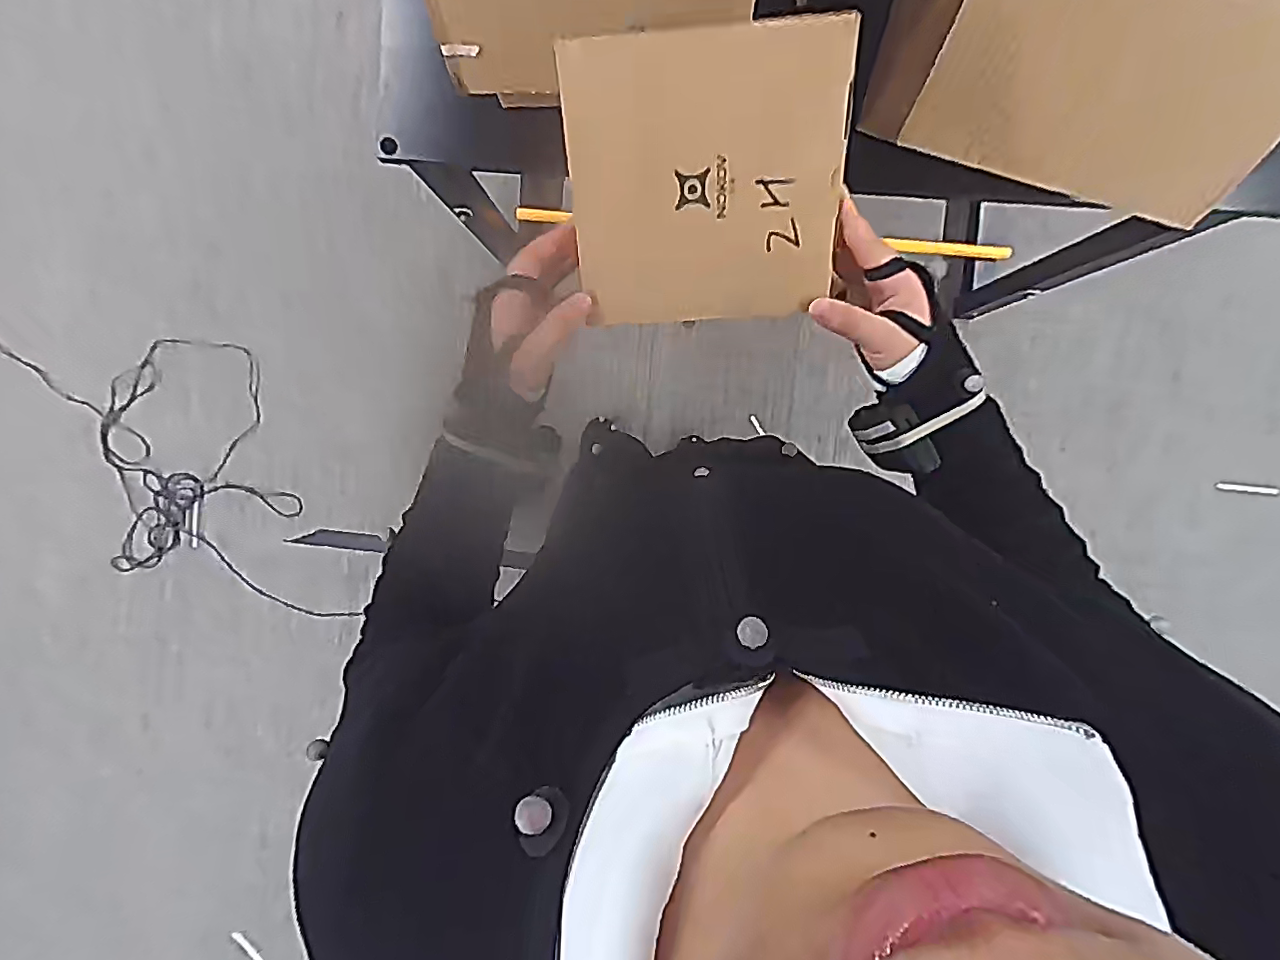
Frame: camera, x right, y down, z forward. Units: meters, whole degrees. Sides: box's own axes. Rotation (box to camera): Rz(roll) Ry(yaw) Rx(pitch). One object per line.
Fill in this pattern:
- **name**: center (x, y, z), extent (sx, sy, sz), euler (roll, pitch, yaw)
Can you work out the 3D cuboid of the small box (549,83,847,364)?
- **small box**: center (0.039, -0.198, 0.423), extent (0.179, 0.176, 0.168), euler (-2, 122, 3)
